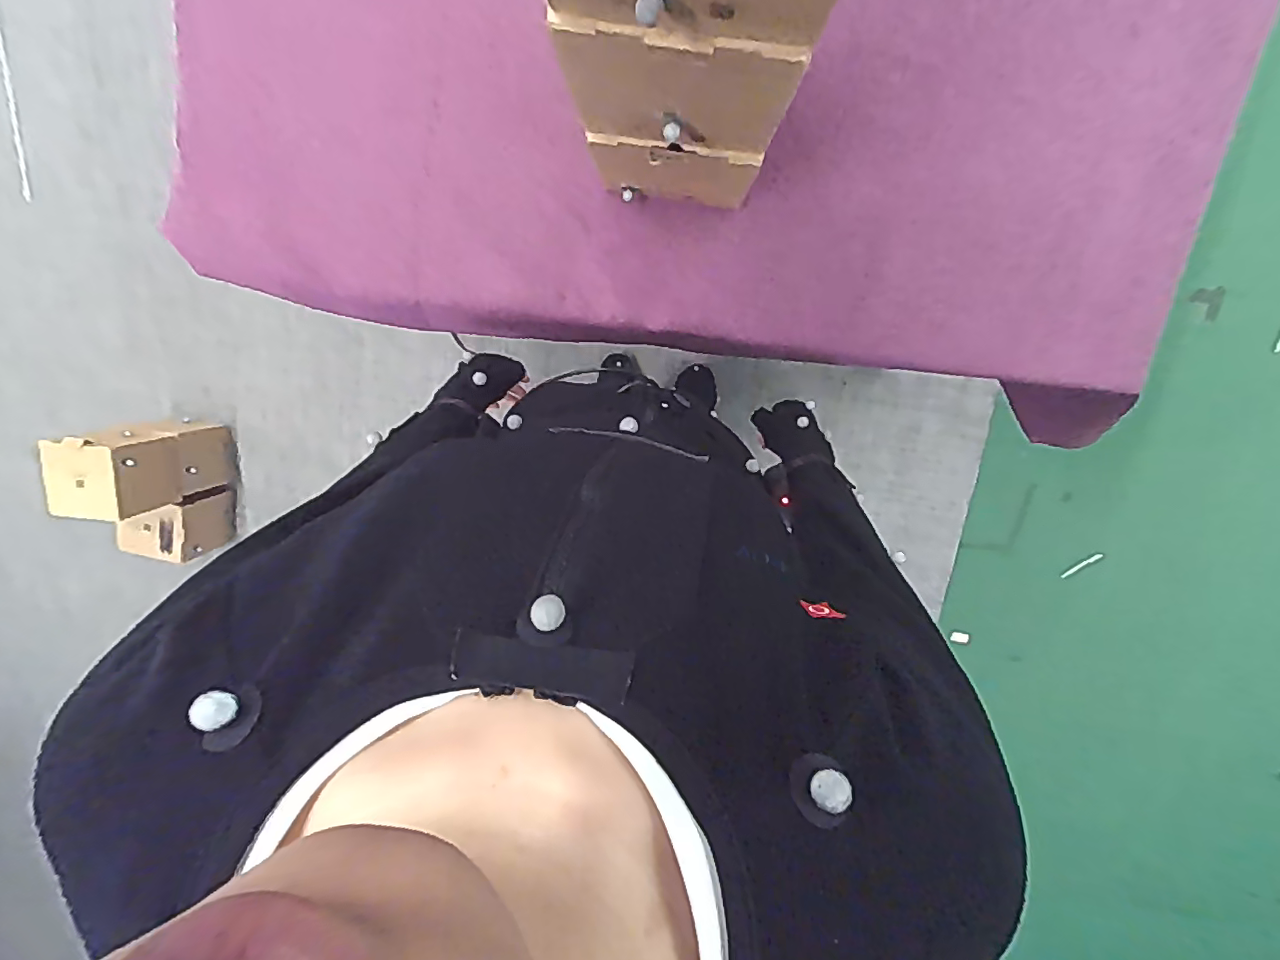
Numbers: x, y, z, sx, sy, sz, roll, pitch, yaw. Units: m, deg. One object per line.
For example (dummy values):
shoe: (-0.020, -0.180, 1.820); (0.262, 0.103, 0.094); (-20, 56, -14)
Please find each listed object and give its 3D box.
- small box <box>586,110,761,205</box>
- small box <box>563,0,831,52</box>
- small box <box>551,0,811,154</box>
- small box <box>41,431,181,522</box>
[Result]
small box: (0.047, -0.403, 0.558); (0.168, 0.176, 0.179); (9, 103, 0)
small box: (0.033, -0.340, 0.236); (0.168, 0.176, 0.179); (8, 104, 1)
small box: (0.039, -0.373, 0.396); (0.168, 0.176, 0.179); (8, 104, 1)
small box: (-1.243, -0.014, 1.286); (0.168, 0.176, 0.179); (5, 103, 1)
